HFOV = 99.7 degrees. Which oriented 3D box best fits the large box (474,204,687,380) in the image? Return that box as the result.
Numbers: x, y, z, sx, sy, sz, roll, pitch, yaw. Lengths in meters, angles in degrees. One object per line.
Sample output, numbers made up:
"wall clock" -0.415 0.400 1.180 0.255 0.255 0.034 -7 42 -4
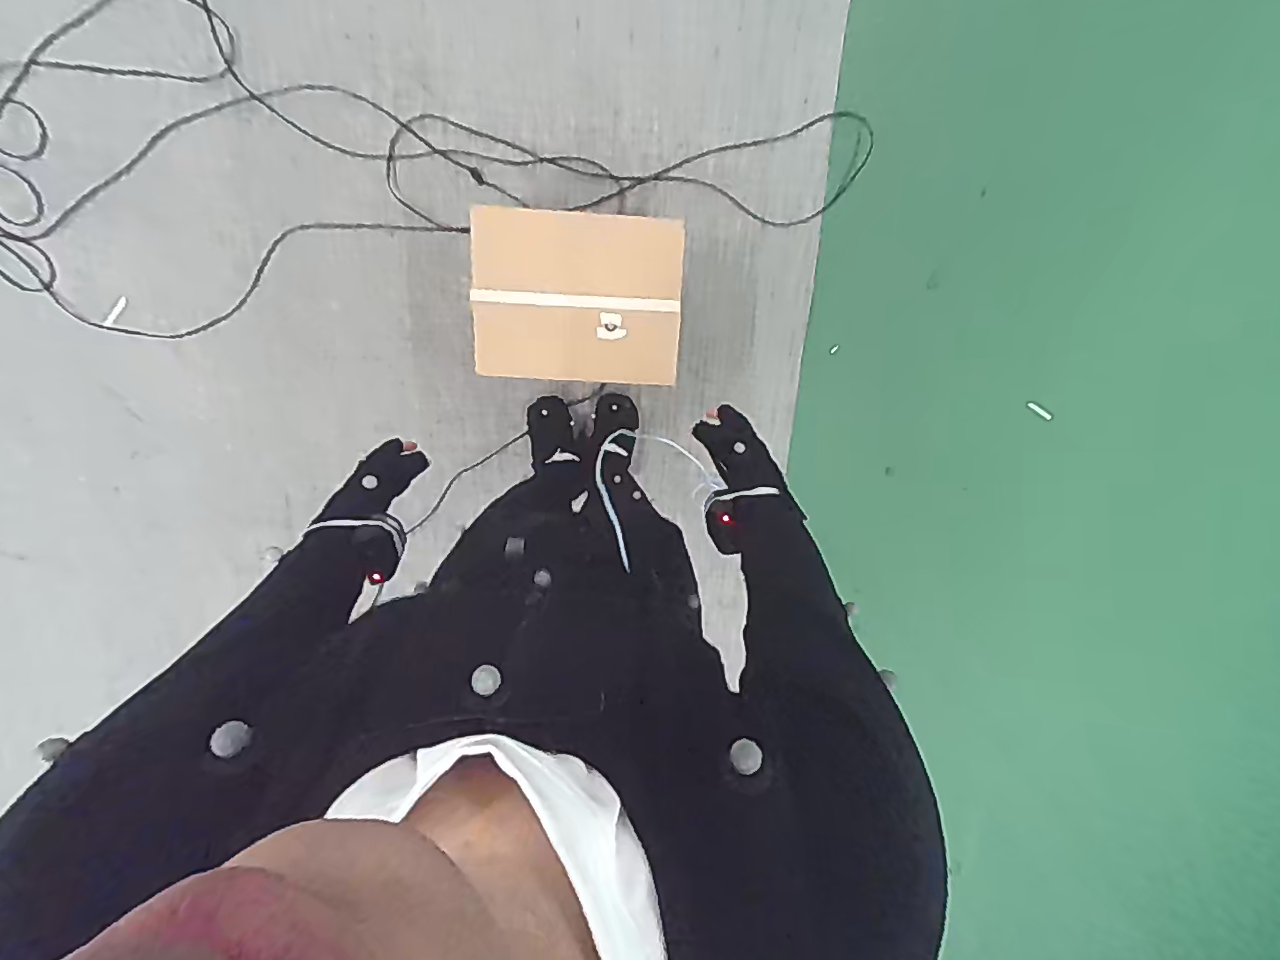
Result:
"large box" -0.126 -0.399 1.193 0.408 0.320 0.320 2 107 -4
